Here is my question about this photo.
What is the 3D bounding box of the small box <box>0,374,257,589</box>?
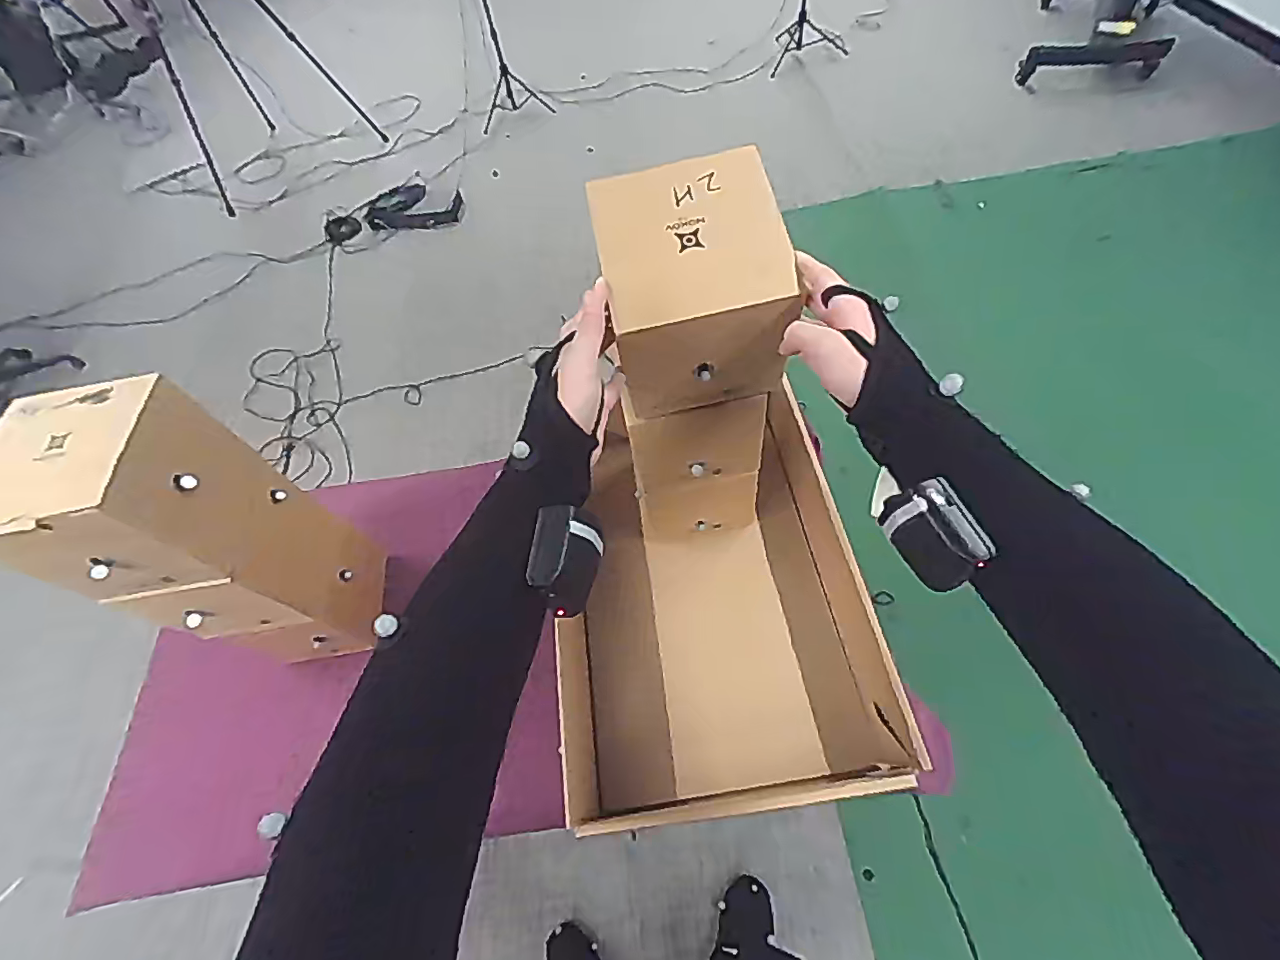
[{"bbox_3d":[-0.579,0.012,0.611,0.168,0.176,0.179,-10,59,0],"label":"small box"}]

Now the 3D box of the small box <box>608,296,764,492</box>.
[{"bbox_3d":[0.058,-0.109,0.722,0.168,0.176,0.179,-12,60,2],"label":"small box"}]

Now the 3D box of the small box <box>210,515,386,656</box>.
[{"bbox_3d":[-0.543,0.180,0.888,0.168,0.176,0.179,-9,58,1],"label":"small box"}]

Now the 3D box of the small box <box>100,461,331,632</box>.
[{"bbox_3d":[-0.561,0.101,0.748,0.168,0.176,0.179,-10,58,1],"label":"small box"}]
